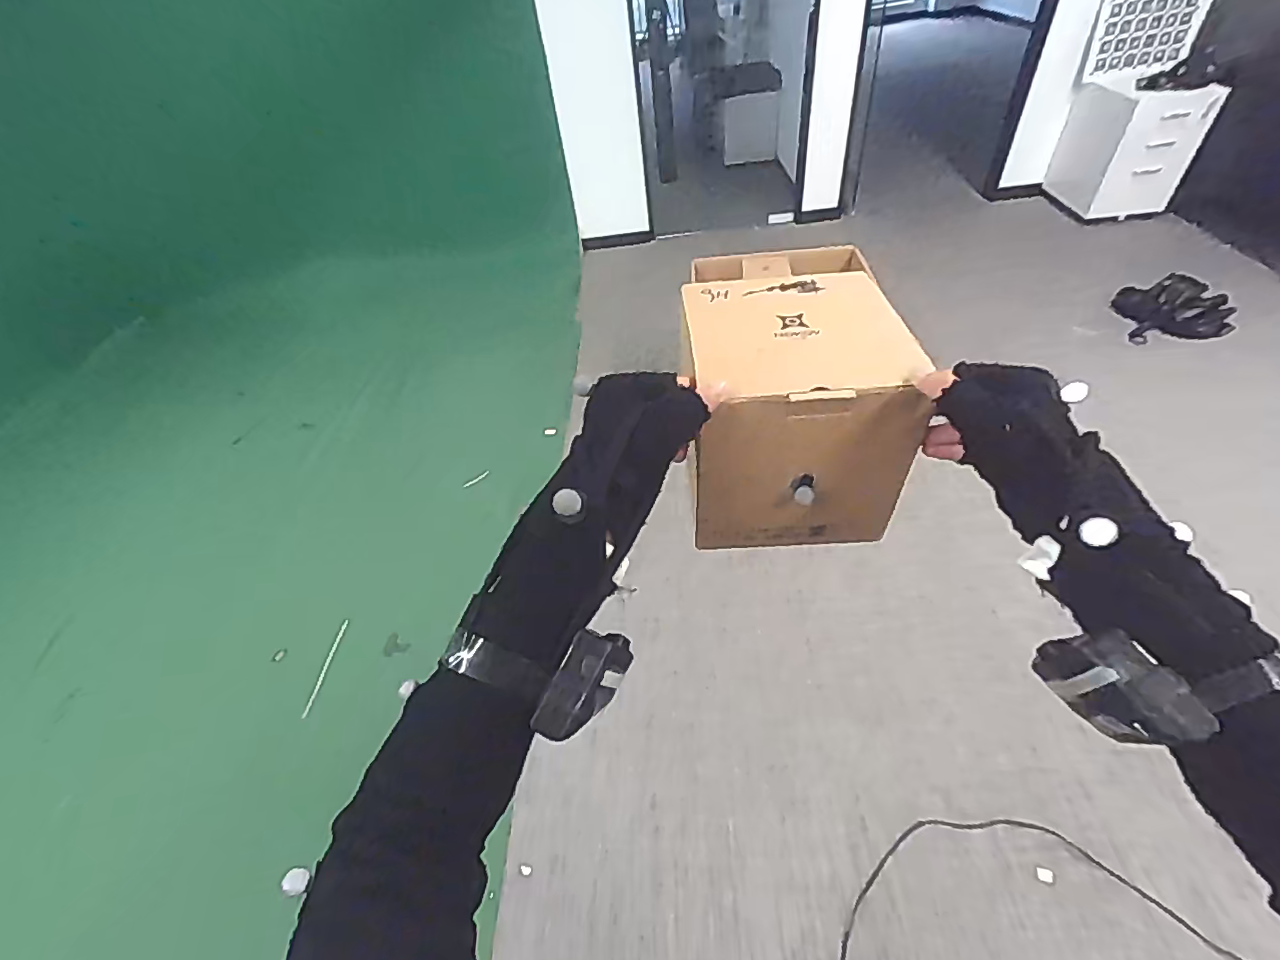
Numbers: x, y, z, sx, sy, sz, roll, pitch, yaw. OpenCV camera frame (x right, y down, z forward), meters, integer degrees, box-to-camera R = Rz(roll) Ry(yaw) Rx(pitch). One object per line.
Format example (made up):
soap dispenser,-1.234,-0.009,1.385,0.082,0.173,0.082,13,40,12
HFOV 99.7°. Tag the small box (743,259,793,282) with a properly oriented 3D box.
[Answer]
small box,0.460,-0.687,1.969,0.168,0.176,0.179,1,44,6

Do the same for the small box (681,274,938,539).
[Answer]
small box,0.124,-0.059,0.478,0.168,0.176,0.179,-2,46,1
